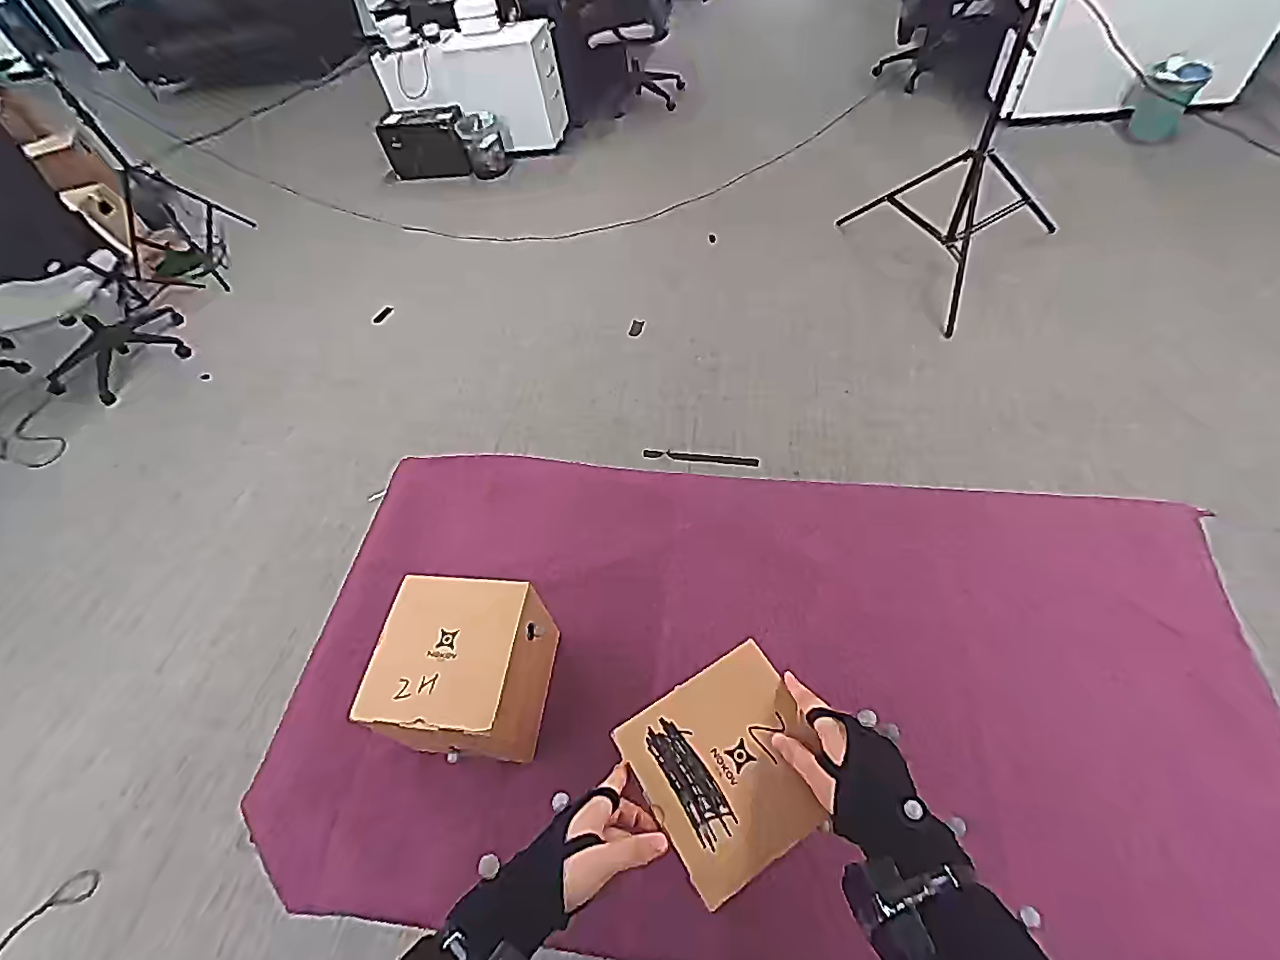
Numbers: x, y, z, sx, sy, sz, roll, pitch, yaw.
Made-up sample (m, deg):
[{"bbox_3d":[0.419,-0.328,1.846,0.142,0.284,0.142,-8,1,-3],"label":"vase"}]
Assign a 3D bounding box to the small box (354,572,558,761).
[{"bbox_3d":[-0.210,0.235,0.679,0.168,0.176,0.179,1,54,9],"label":"small box"}]
